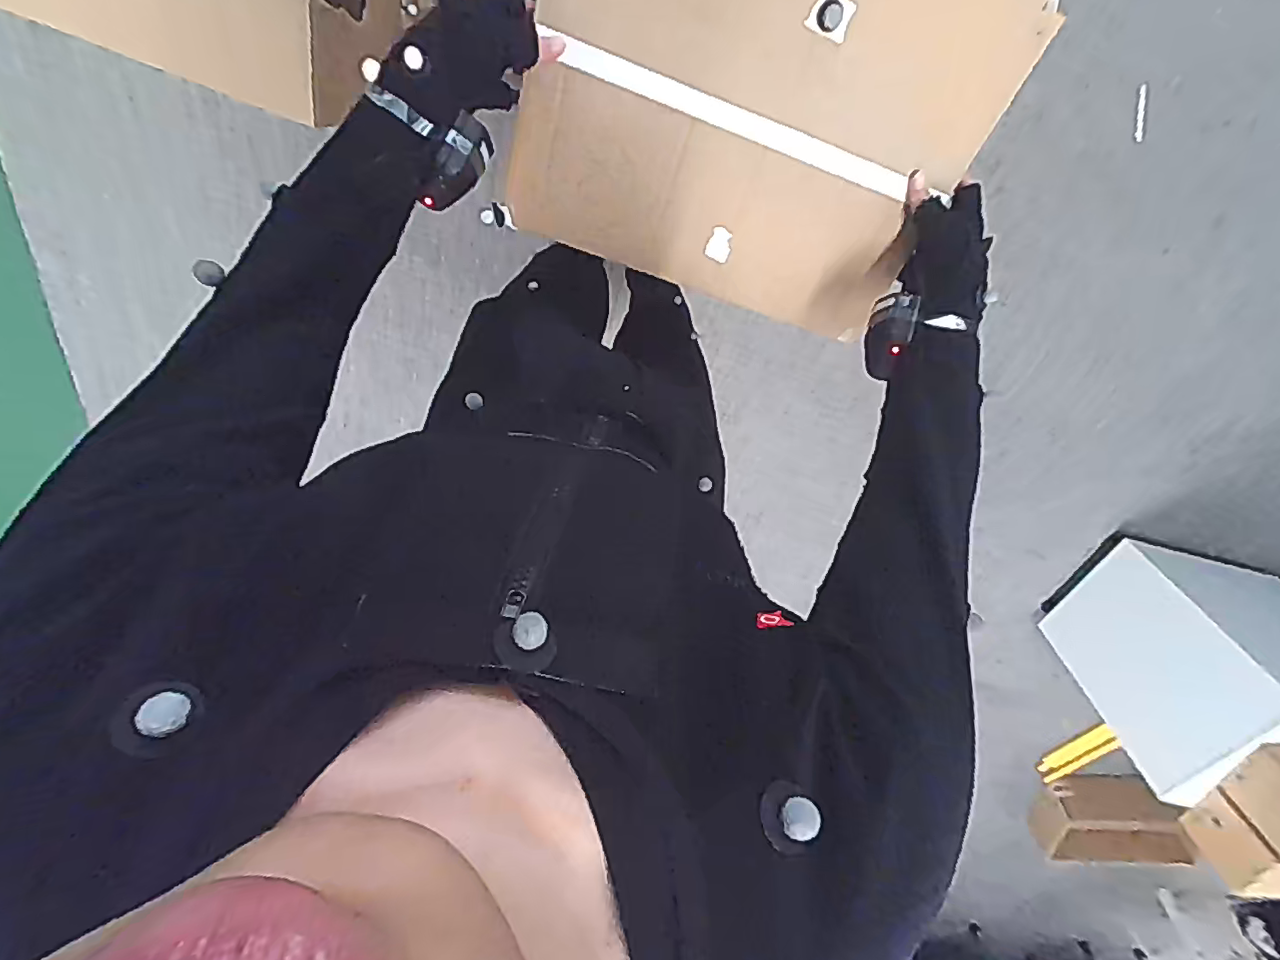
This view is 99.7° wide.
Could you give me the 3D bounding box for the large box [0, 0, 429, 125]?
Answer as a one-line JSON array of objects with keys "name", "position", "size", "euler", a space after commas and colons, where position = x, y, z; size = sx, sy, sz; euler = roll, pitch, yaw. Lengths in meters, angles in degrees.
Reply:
[{"name": "large box", "position": [-0.499, -0.671, 0.633], "size": [0.408, 0.320, 0.320], "euler": [19, 126, -7]}]
